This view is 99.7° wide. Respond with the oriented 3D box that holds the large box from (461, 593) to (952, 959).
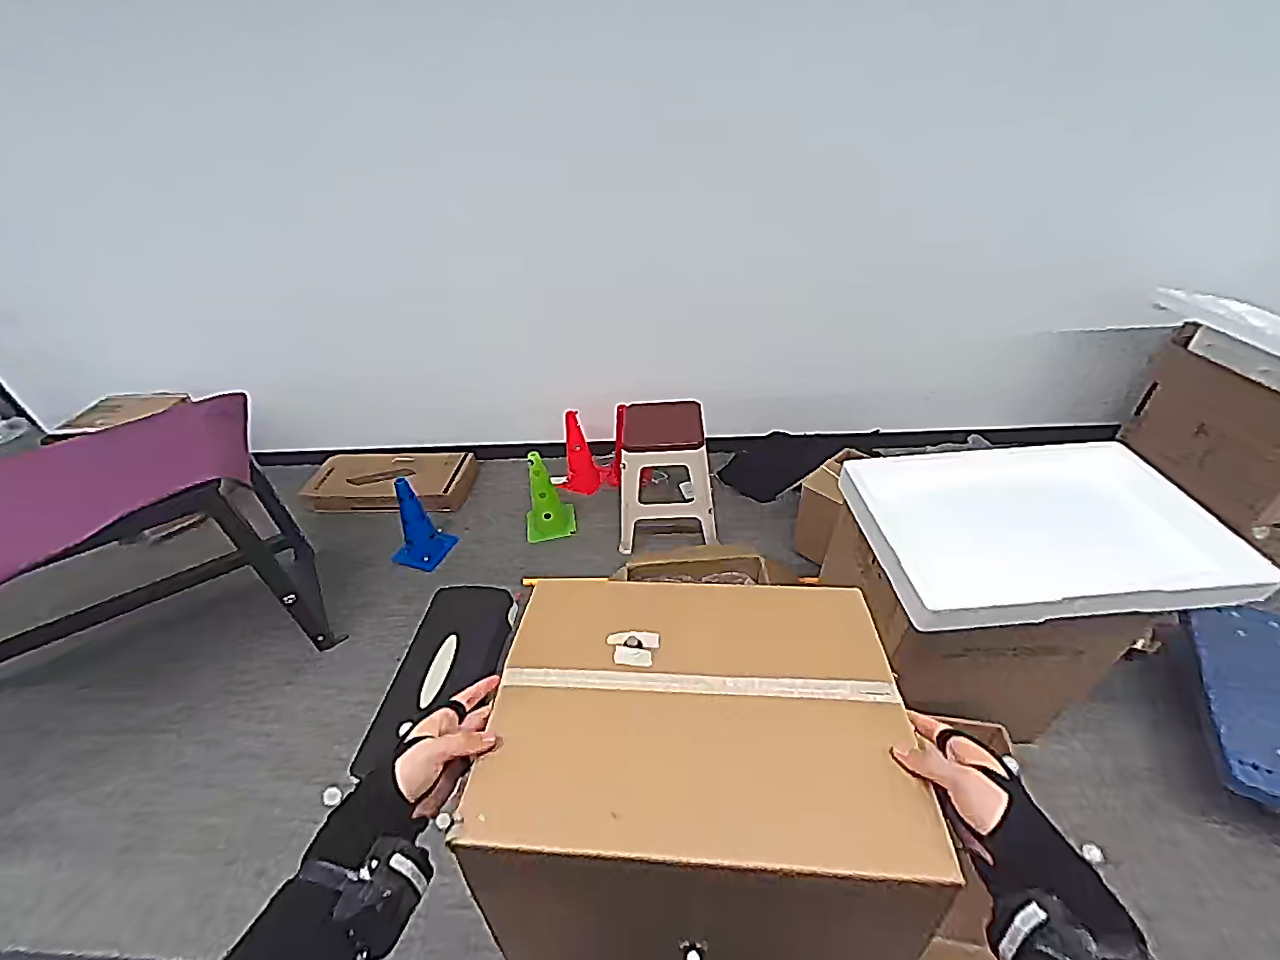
[{"bbox_3d":[0.067,0.351,0.637,0.408,0.320,0.320,0,31,5],"label":"large box"}]
